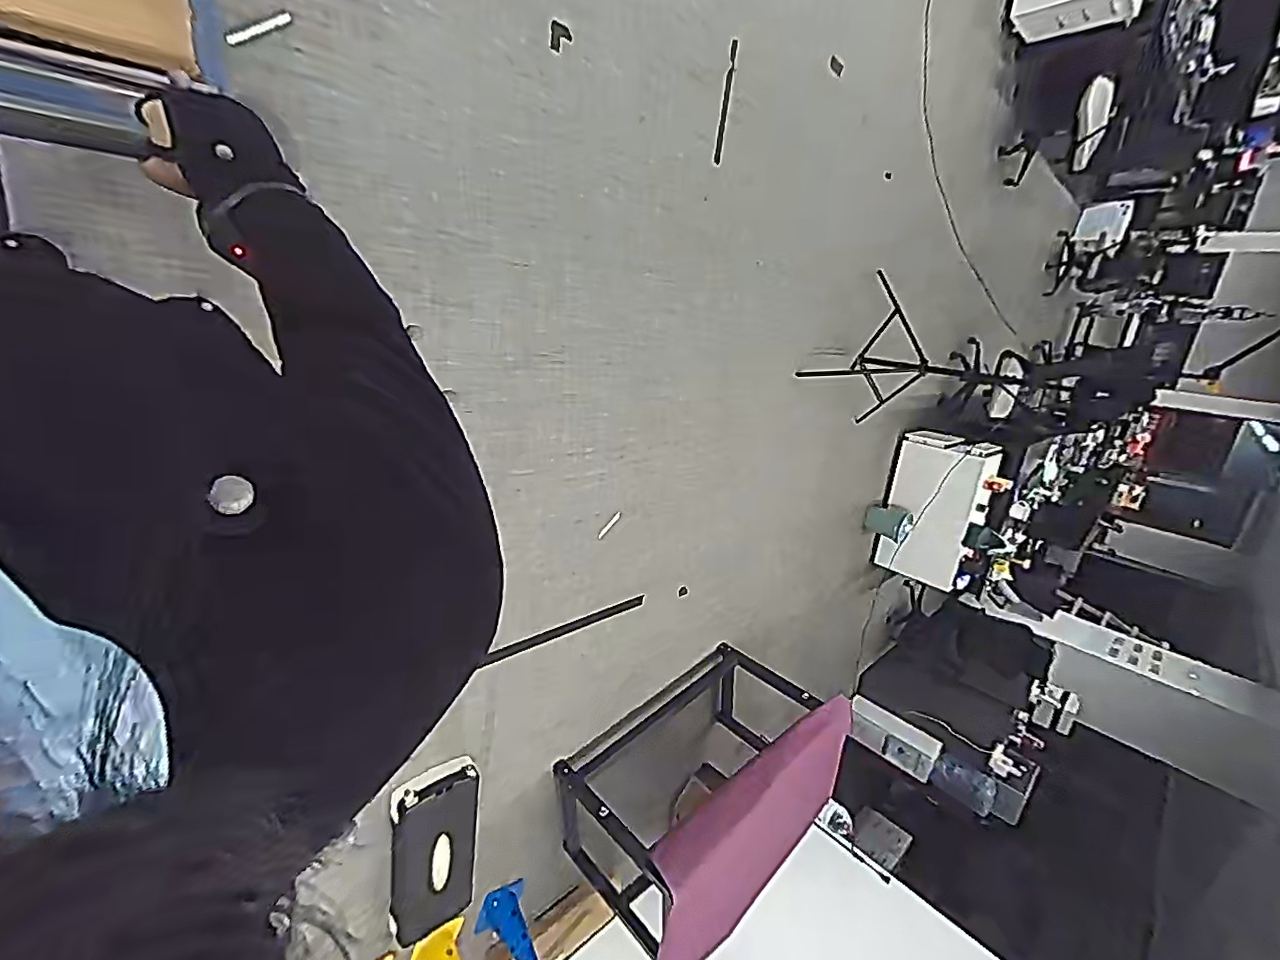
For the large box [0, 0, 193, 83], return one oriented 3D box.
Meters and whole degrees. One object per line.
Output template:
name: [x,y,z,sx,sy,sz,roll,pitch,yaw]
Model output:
large box: [-0.830,-0.718,0.637,0.408,0.320,0.320,-13,124,-43]
